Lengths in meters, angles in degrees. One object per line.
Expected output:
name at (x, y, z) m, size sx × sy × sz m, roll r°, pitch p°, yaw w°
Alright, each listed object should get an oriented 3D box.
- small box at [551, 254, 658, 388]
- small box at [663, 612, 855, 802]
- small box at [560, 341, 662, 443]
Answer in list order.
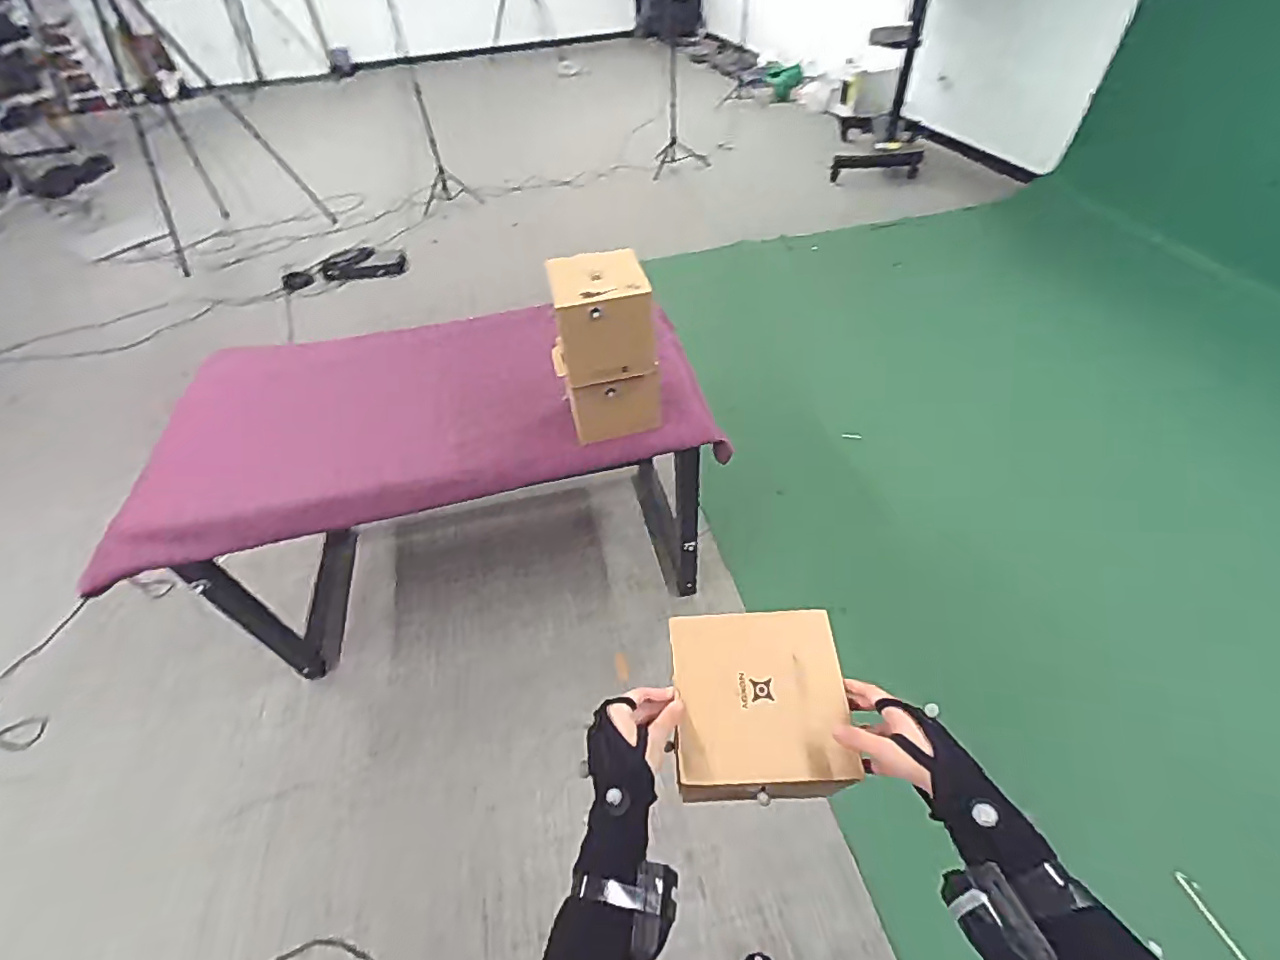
small box at (-0.066, -0.297, 1.012) m, size 0.168 × 0.176 × 0.179 m, roll -12°, pitch 47°, yaw -5°
small box at (0.120, 0.262, 0.616) m, size 0.179 × 0.176 × 0.168 m, roll -3°, pitch 54°, yaw 3°
small box at (-0.058, -0.198, 1.144) m, size 0.179 × 0.176 × 0.168 m, roll -13°, pitch 48°, yaw -8°
